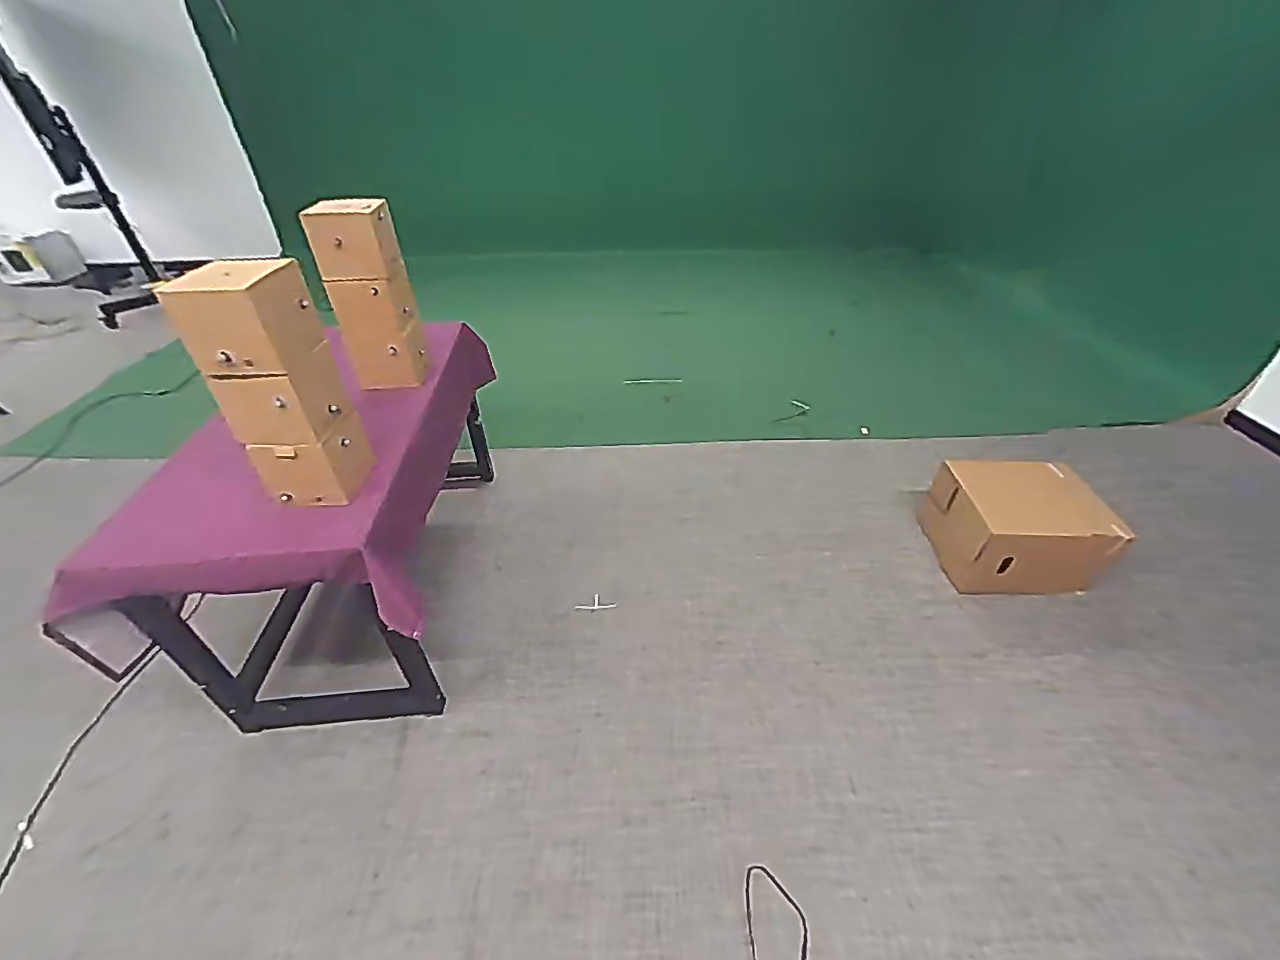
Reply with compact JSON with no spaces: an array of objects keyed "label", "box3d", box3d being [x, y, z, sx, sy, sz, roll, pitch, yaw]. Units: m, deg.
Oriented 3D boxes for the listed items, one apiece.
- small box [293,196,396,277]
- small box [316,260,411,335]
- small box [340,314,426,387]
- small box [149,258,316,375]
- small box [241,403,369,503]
[{"label":"small box","box3d":[-0.793,-0.660,1.471,0.179,0.176,0.168,-5,40,-5]},{"label":"small box","box3d":[-0.794,-0.531,1.574,0.179,0.176,0.168,-2,39,-2]},{"label":"small box","box3d":[-0.784,-0.401,1.672,0.179,0.176,0.168,-3,38,-2]},{"label":"small box","box3d":[-0.763,-0.316,1.042,0.168,0.176,0.179,-1,39,1]},{"label":"small box","box3d":[-0.754,-0.060,1.246,0.168,0.176,0.179,-1,38,0]}]
